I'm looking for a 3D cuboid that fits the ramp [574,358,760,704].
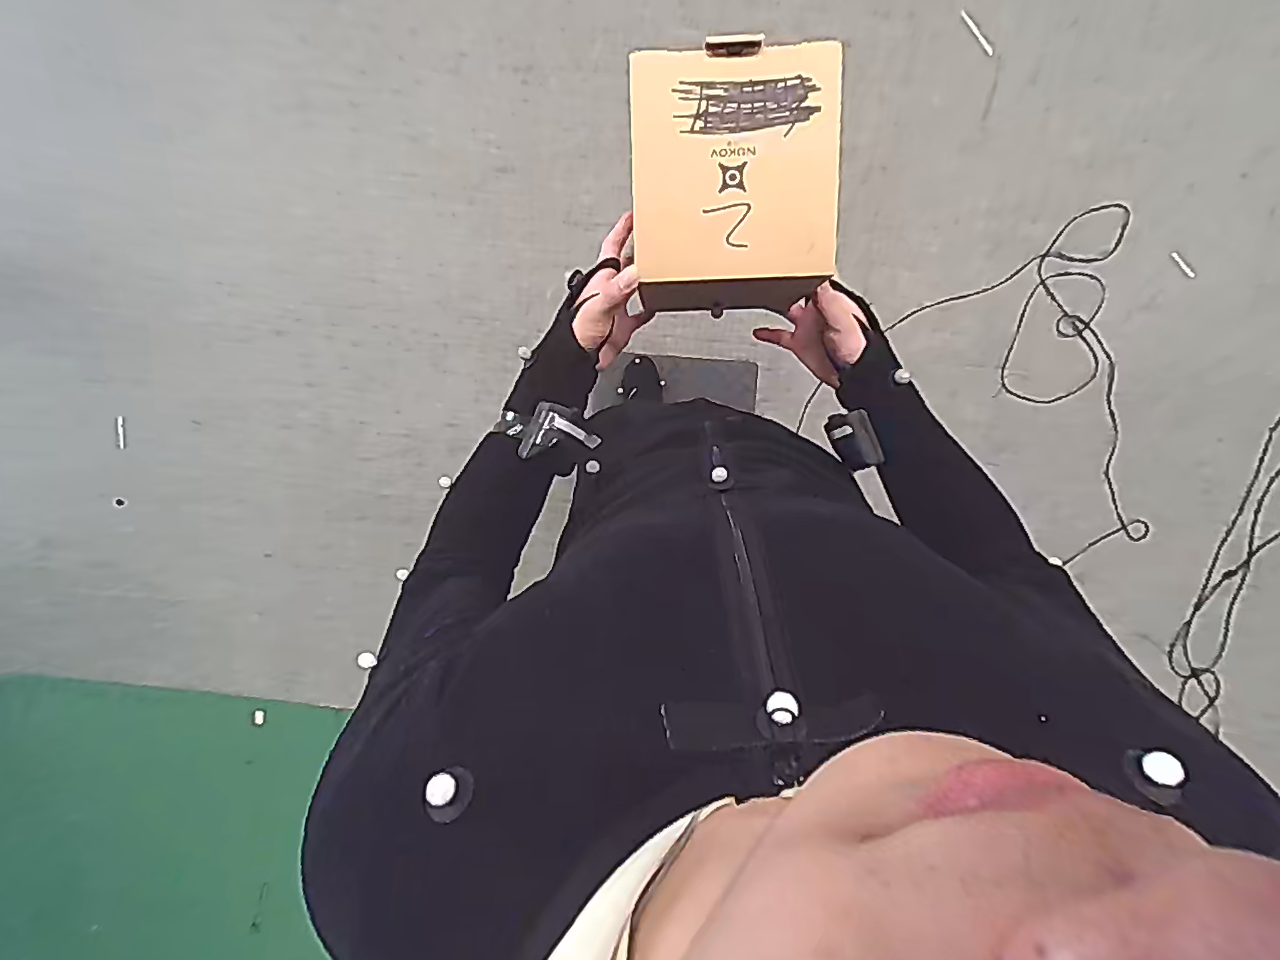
[{"bbox_3d":[0.081,0.146,1.610,0.509,0.206,0.991,3,98,2],"label":"ramp"}]
